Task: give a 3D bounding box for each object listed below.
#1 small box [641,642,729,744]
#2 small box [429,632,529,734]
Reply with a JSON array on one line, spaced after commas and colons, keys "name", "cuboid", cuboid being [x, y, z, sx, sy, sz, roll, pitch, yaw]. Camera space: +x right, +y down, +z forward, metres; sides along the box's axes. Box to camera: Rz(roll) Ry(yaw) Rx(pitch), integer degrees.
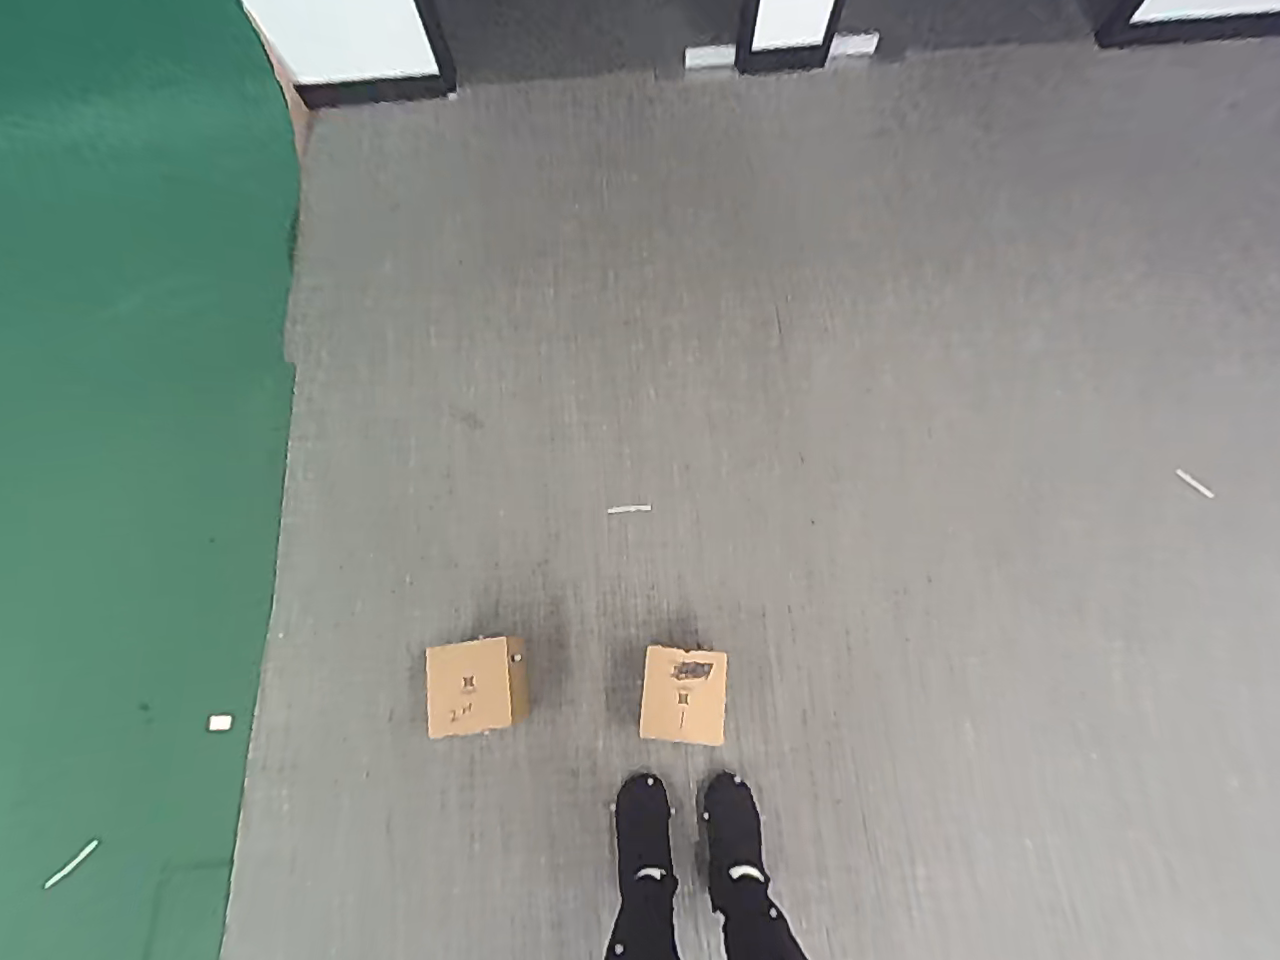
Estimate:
[{"name": "small box", "cuboid": [0.090, 0.441, 1.141, 0.168, 0.176, 0.179, 5, 73, 3]}, {"name": "small box", "cuboid": [-0.338, 0.427, 1.152, 0.168, 0.176, 0.179, -8, 72, -2]}]
